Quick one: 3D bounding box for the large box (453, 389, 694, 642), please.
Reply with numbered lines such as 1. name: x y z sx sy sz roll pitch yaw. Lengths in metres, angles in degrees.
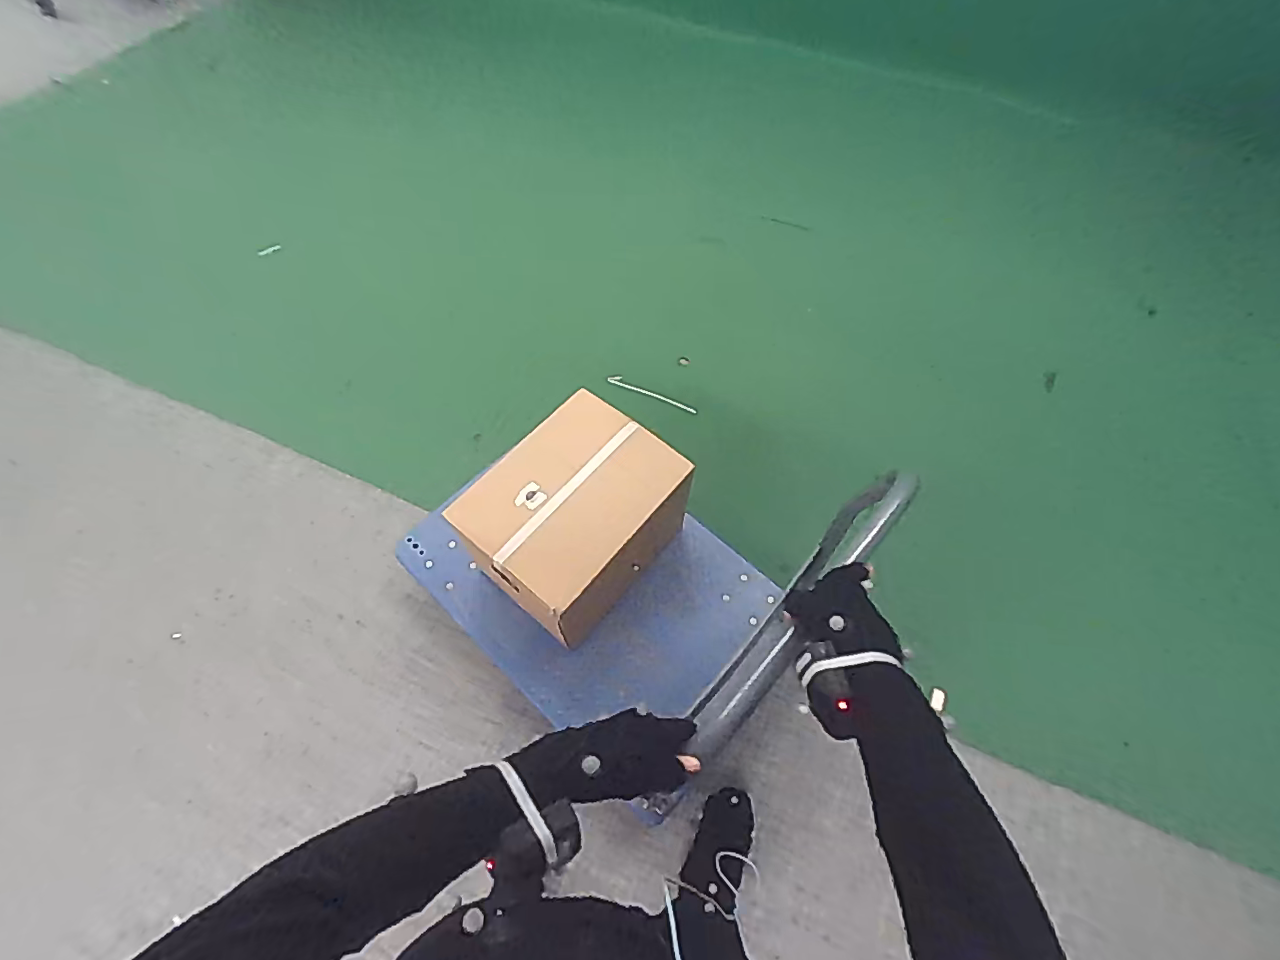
1. large box: -0.128 0.086 1.208 0.320 0.320 0.408 36 67 17
